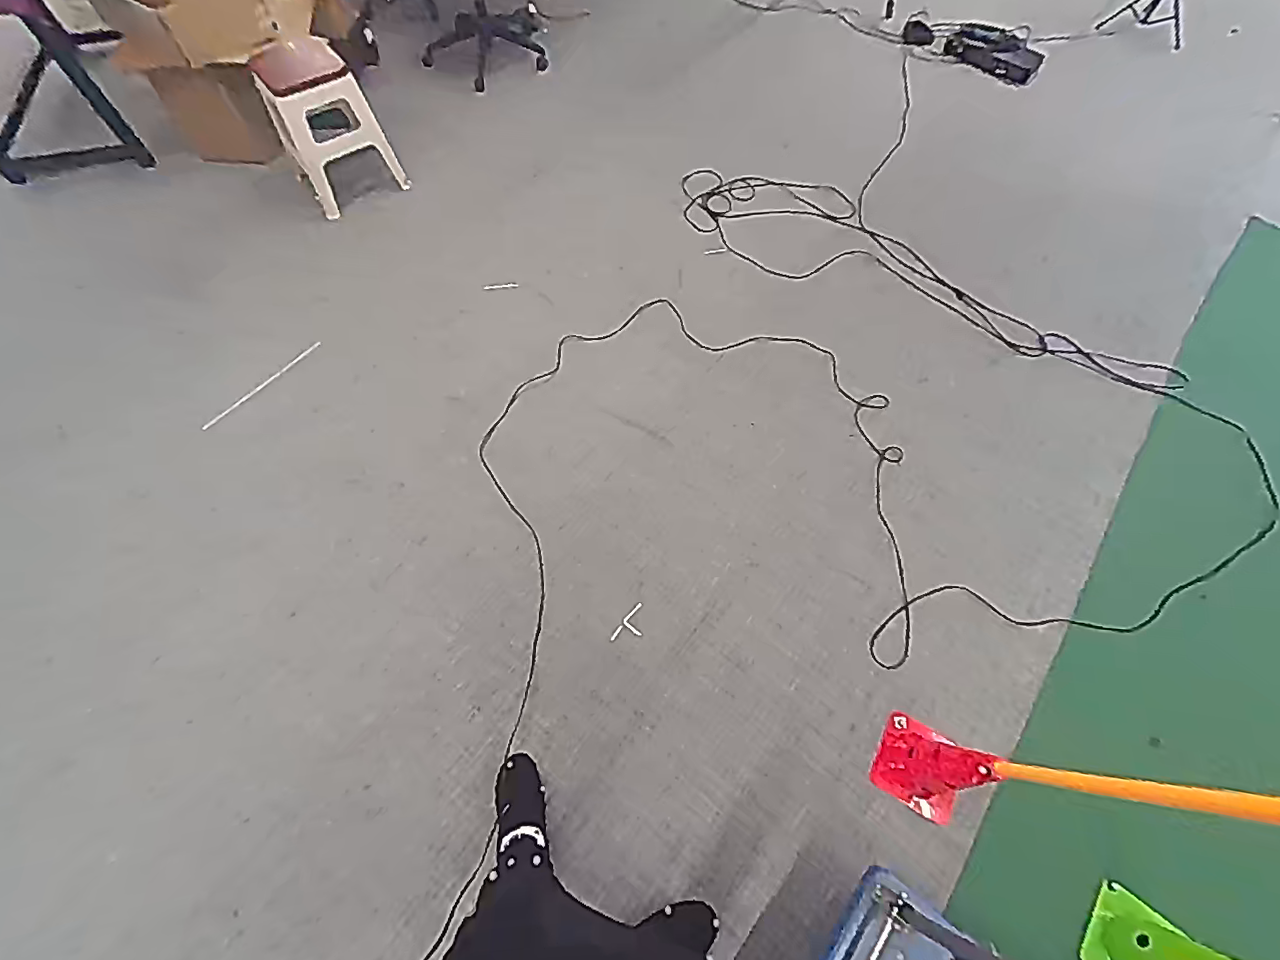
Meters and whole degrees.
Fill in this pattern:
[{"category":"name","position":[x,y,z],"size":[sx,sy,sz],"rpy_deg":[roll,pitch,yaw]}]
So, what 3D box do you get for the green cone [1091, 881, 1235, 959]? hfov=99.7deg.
[{"category":"green cone","position":[1.117,0.959,1.035],"size":[0.202,0.368,0.200],"rpy_deg":[36,67,16]}]
